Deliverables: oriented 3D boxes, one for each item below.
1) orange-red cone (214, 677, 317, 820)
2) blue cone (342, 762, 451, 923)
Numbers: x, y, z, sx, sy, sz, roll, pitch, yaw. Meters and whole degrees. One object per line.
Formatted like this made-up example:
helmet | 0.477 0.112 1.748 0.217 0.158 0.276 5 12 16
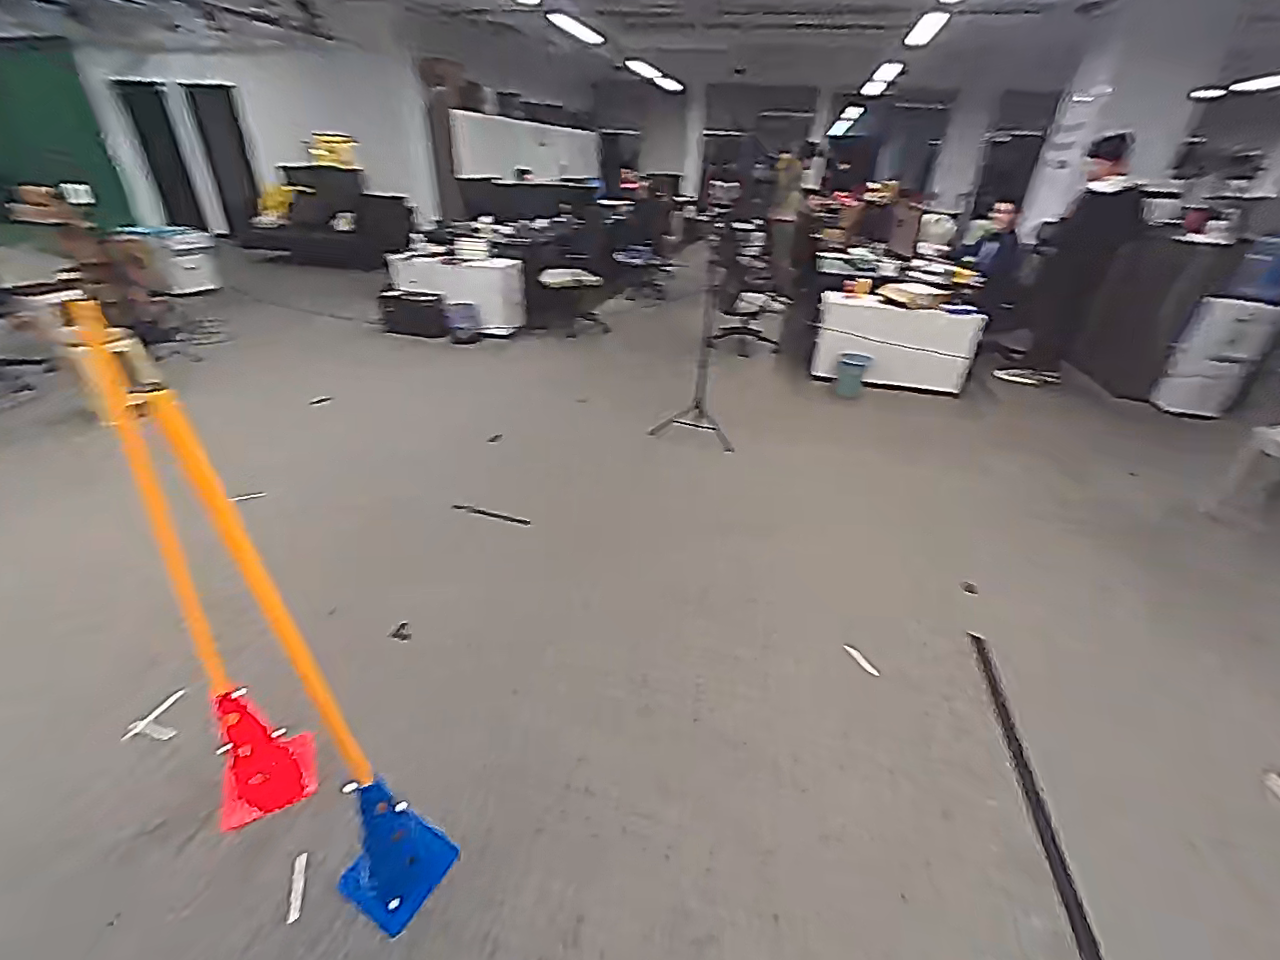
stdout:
orange-red cone | -0.945 0.609 1.312 0.198 0.360 0.199 -14 36 -25
blue cone | -0.549 0.738 1.158 0.192 0.380 0.193 18 34 26
